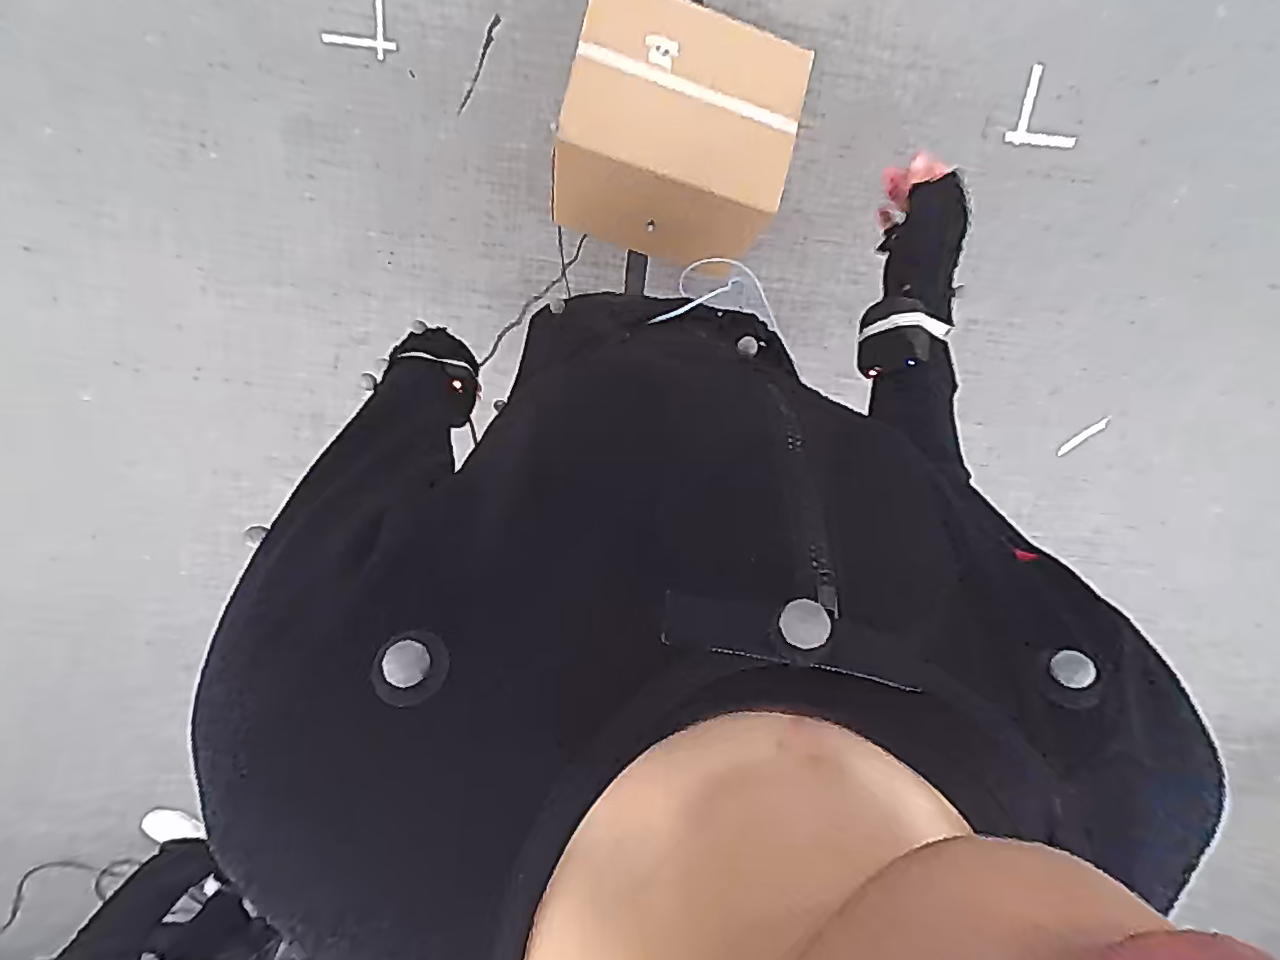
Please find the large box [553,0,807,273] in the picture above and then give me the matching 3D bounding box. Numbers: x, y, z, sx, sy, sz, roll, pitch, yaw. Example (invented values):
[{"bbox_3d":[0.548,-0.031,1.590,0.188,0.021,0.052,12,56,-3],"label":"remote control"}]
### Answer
[{"bbox_3d":[0.058,-0.669,1.090,0.408,0.320,0.320,15,87,-8],"label":"large box"}]
